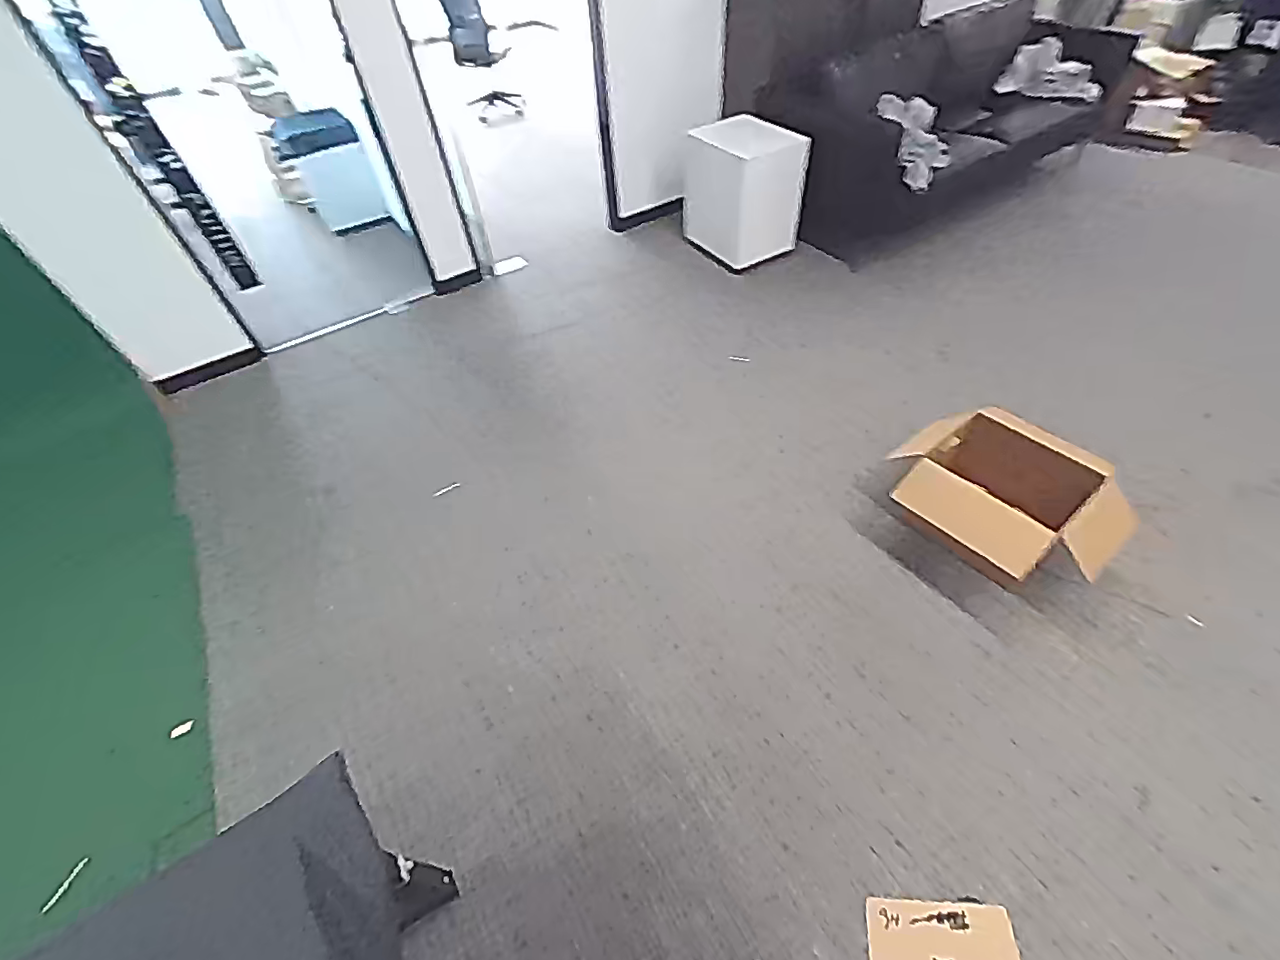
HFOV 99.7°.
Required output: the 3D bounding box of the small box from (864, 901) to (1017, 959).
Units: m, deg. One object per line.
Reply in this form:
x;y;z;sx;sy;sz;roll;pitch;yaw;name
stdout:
0.368;0.646;0.629;0.168;0.176;0.179;-13;14;23;small box
